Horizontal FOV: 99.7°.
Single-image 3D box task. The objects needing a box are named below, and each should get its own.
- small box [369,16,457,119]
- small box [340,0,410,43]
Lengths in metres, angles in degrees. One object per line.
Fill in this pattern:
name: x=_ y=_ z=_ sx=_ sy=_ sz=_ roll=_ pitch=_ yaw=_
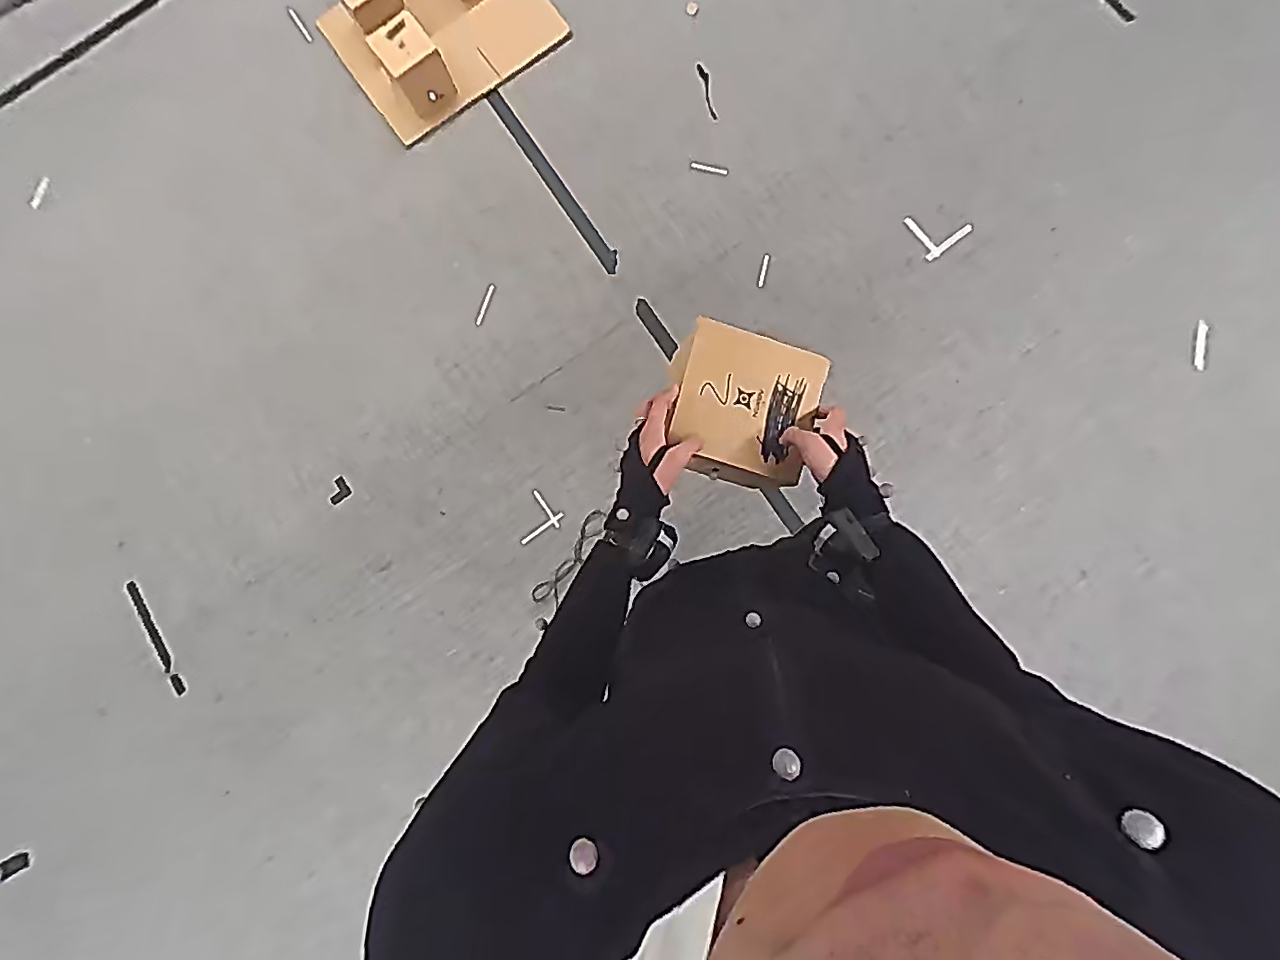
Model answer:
small box: x=-0.737 y=-1.341 z=1.770 sx=0.168 sy=0.176 sz=0.179 roll=-37 pitch=83 yaw=-1
small box: x=-0.887 y=-1.580 z=1.806 sx=0.168 sy=0.176 sz=0.179 roll=-36 pitch=83 yaw=-1
